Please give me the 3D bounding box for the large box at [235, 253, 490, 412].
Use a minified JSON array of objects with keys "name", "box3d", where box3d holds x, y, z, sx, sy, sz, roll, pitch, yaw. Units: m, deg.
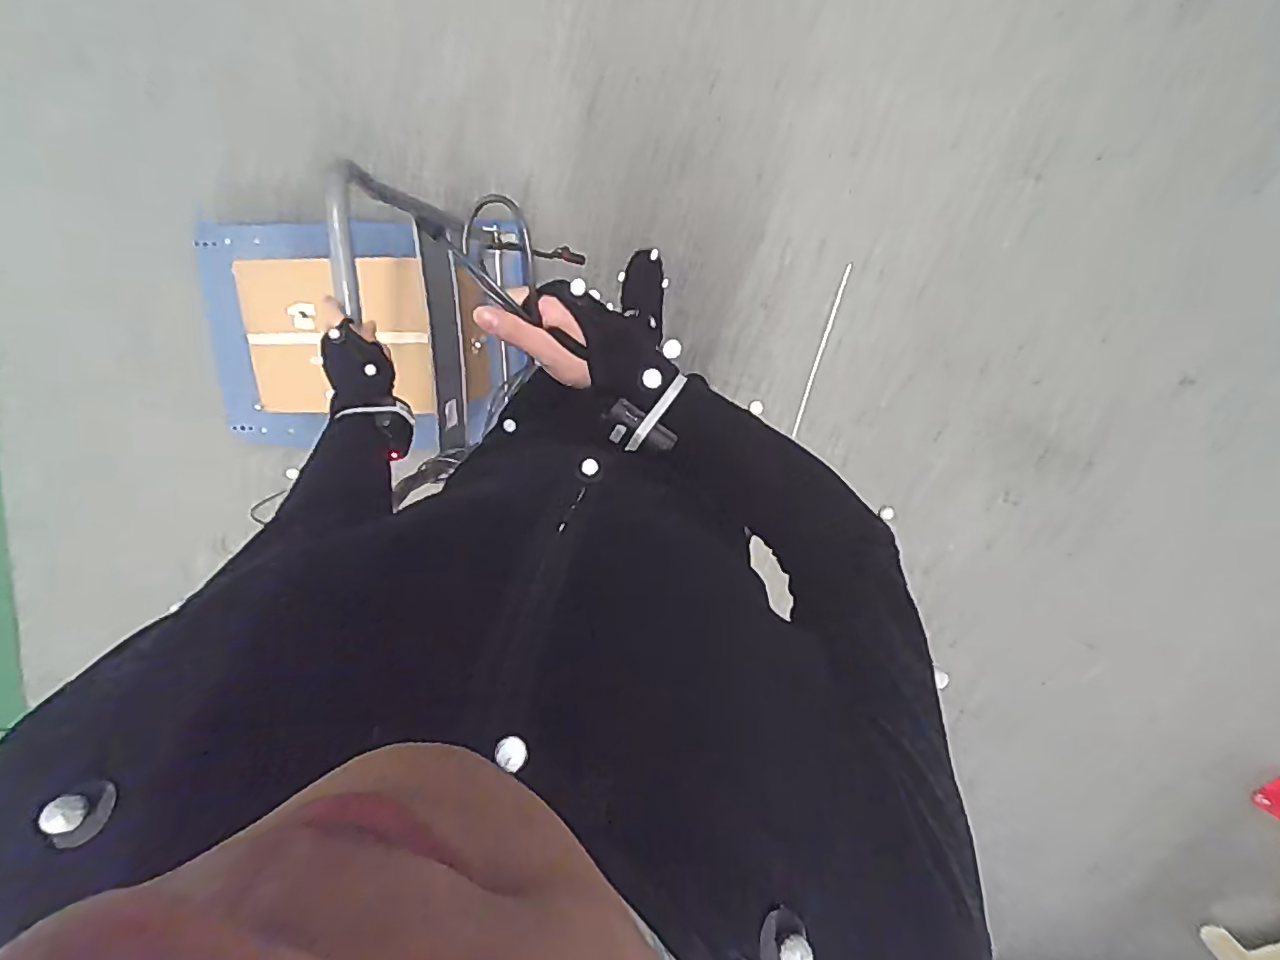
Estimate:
[{"name":"large box","box3d":[-0.606,-0.339,1.256,0.408,0.320,0.320,2,106,5]}]
